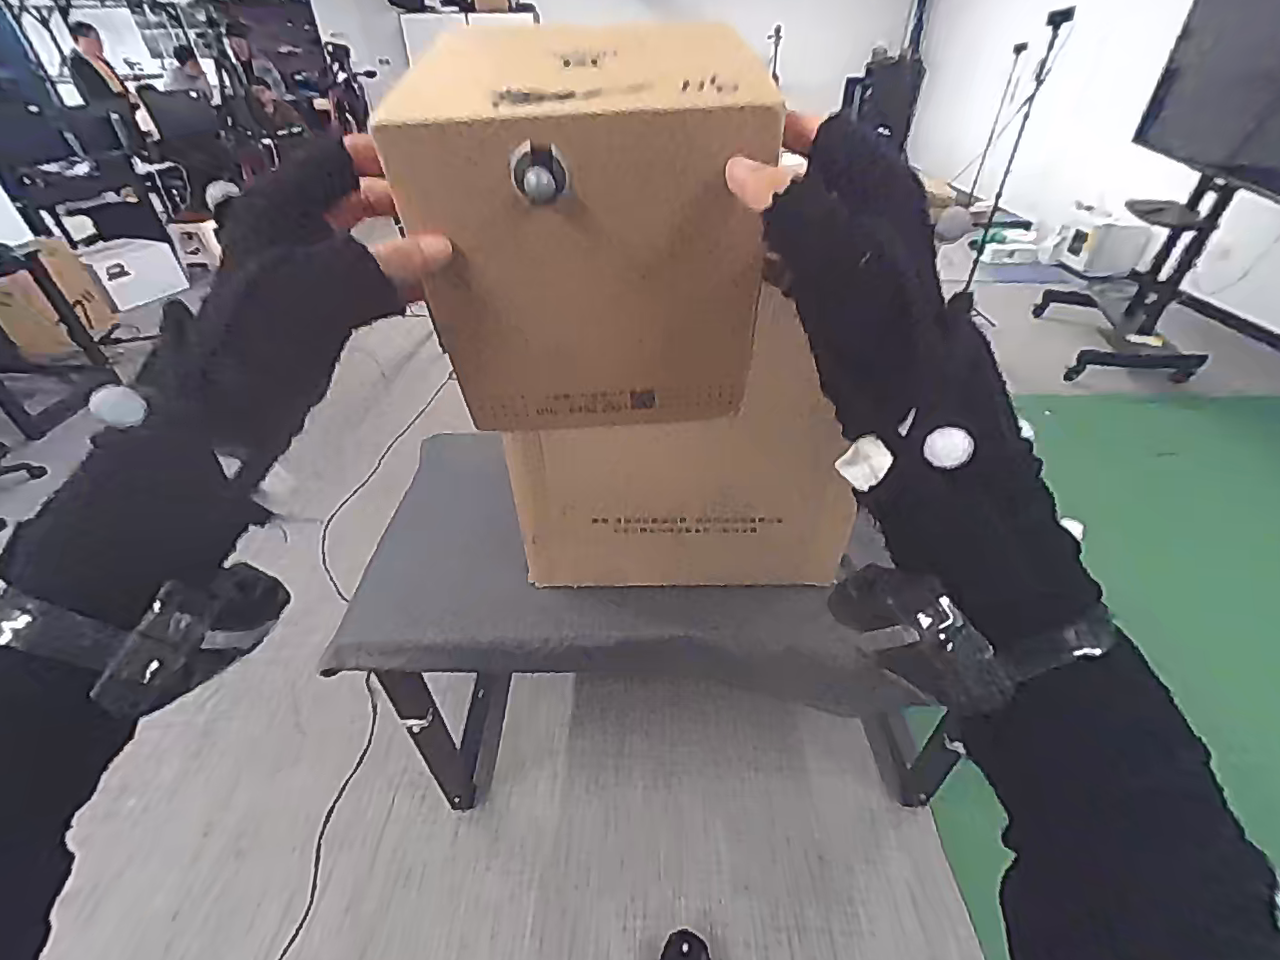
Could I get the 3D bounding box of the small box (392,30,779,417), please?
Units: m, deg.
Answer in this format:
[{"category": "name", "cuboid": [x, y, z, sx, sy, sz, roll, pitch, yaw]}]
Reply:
[{"category": "small box", "cuboid": [-0.023, -0.158, 0.339, 0.168, 0.176, 0.179, -3, 48, 0]}]
